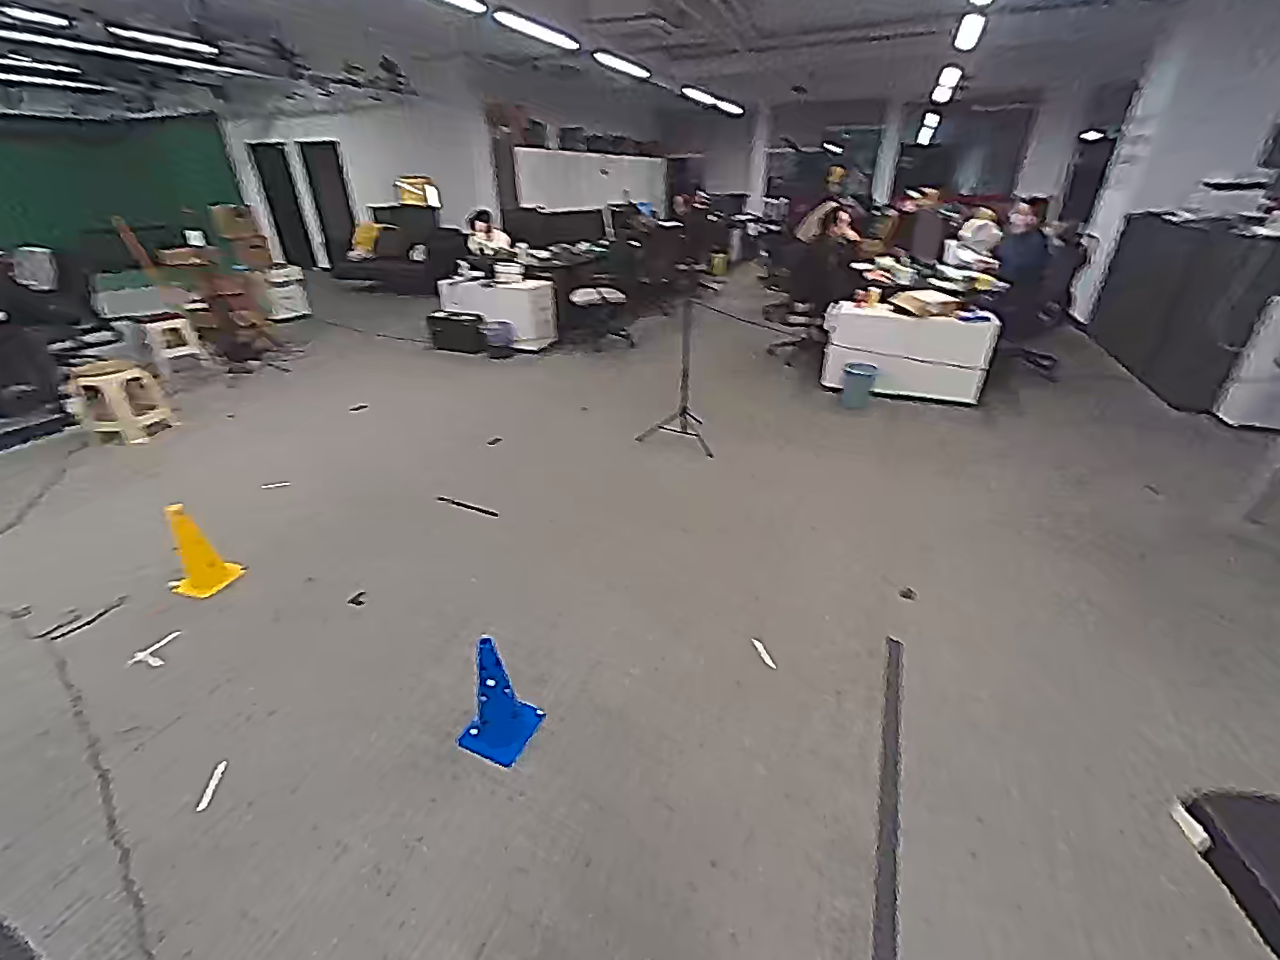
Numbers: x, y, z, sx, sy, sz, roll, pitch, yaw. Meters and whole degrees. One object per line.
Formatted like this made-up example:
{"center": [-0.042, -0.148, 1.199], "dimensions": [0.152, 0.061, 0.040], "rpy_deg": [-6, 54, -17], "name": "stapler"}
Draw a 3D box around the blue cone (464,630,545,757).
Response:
{"center": [-0.406, 0.587, 1.543], "dimensions": [0.193, 0.380, 0.192], "rpy_deg": [13, 30, 22], "name": "blue cone"}
